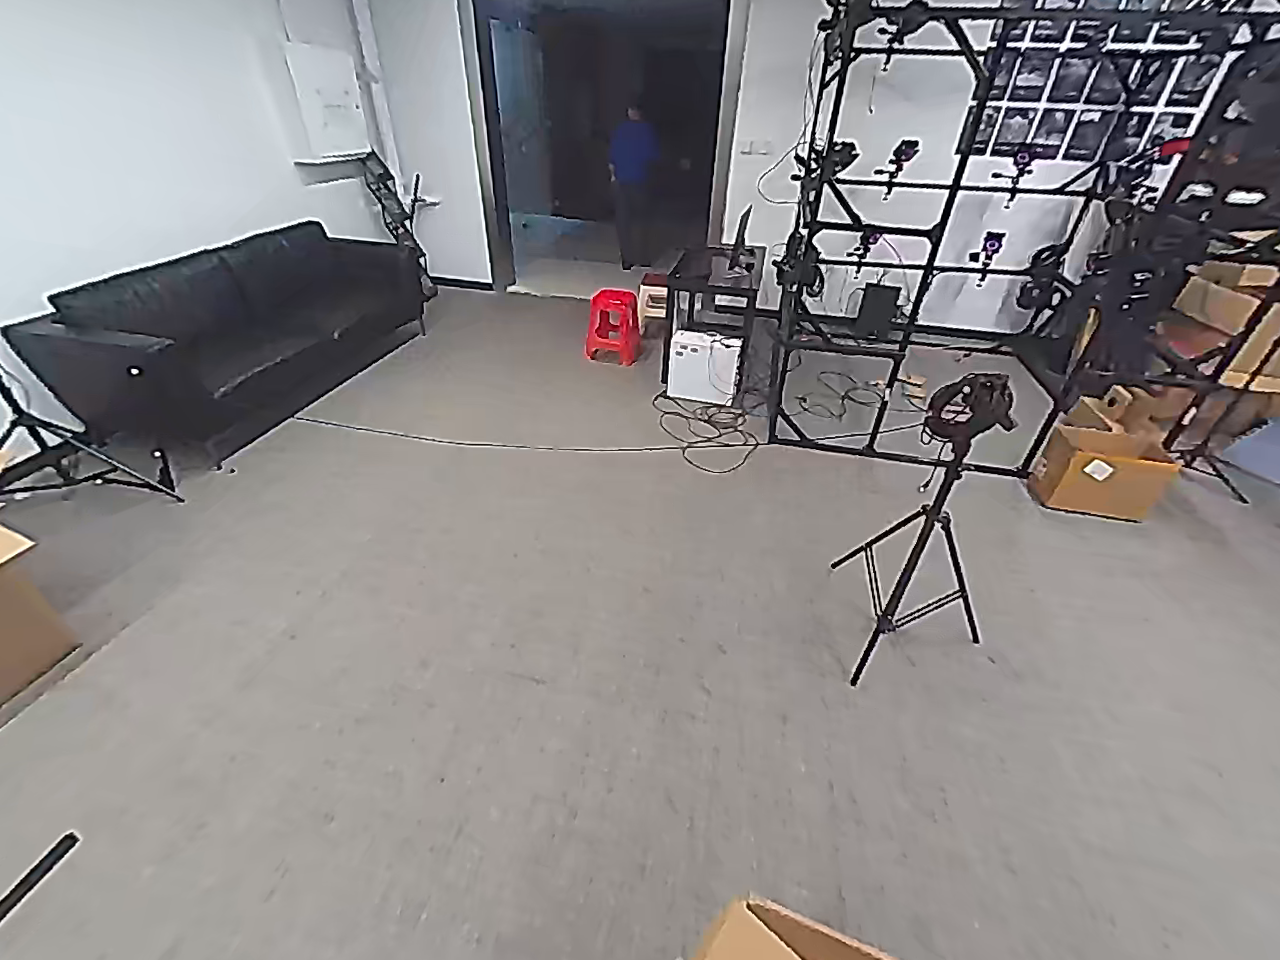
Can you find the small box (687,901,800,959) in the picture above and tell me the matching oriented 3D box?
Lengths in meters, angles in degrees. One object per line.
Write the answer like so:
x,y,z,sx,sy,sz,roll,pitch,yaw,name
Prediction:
0.118,0.615,0.592,0.179,0.176,0.168,32,51,26,small box
